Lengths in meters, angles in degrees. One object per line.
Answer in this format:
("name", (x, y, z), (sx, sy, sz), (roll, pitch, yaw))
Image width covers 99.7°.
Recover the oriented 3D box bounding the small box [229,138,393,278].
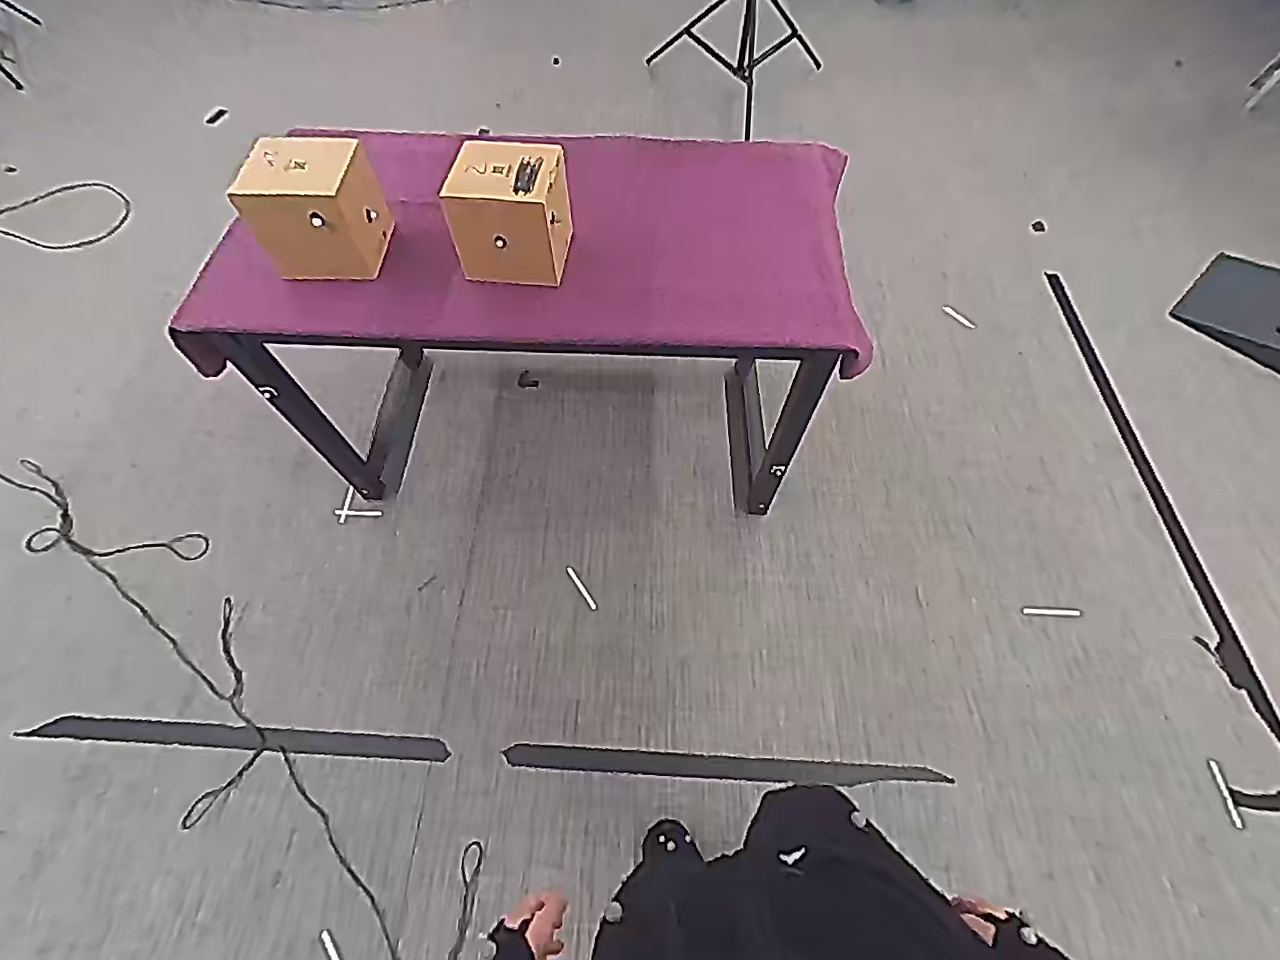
("small box", (-0.572, -0.483, 0.973), (0.179, 0.176, 0.168), (0, 60, -1))
